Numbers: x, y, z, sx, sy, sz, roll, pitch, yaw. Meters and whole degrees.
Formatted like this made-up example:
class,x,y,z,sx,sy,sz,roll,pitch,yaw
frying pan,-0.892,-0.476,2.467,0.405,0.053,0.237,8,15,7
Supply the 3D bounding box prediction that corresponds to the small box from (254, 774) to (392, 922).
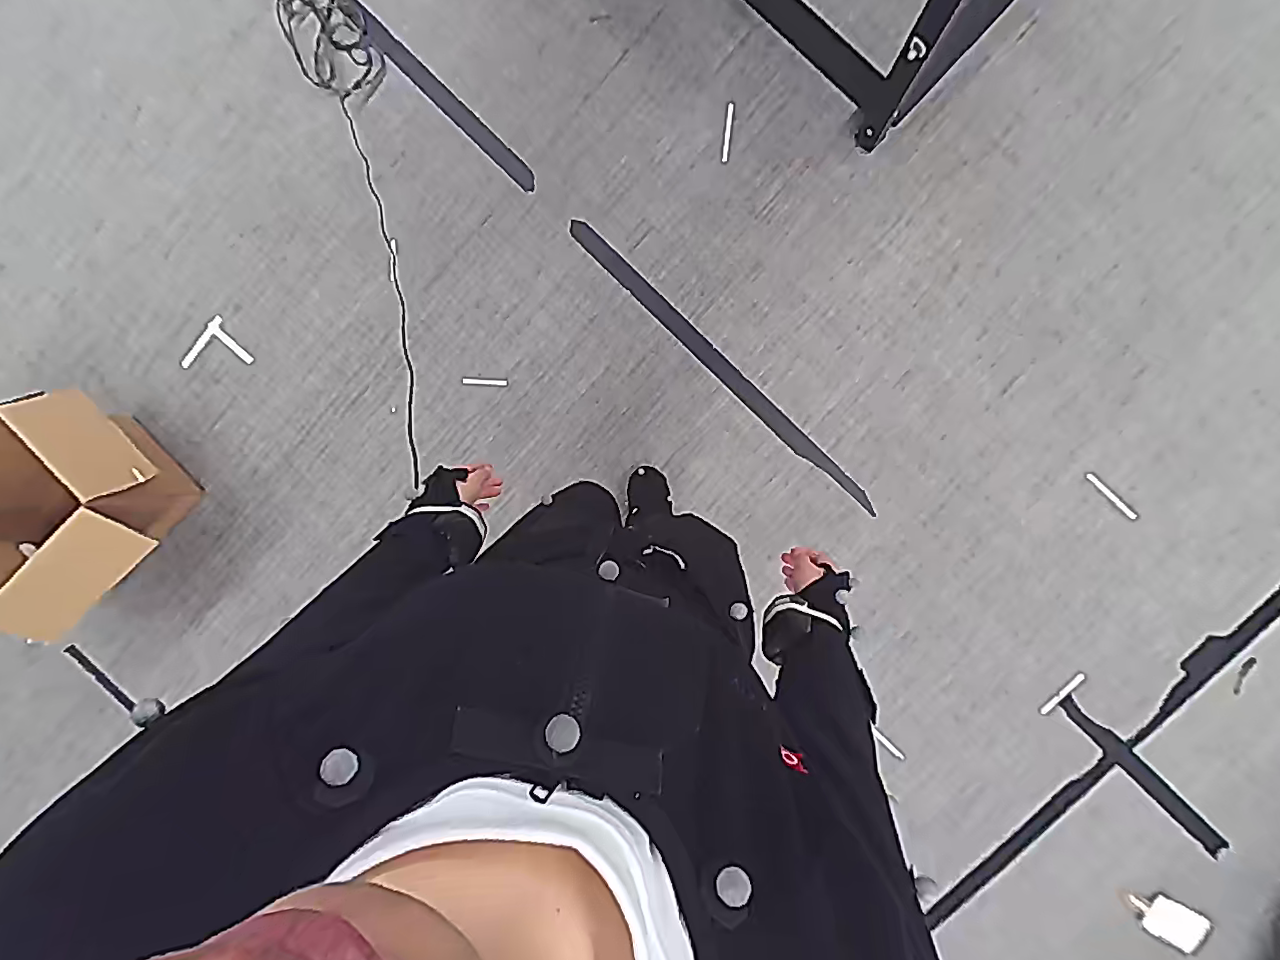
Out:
class,x,y,z,sx,sy,sz,roll,pitch,yaw
small box,-0.702,0.819,1.220,0.168,0.176,0.179,41,95,1
